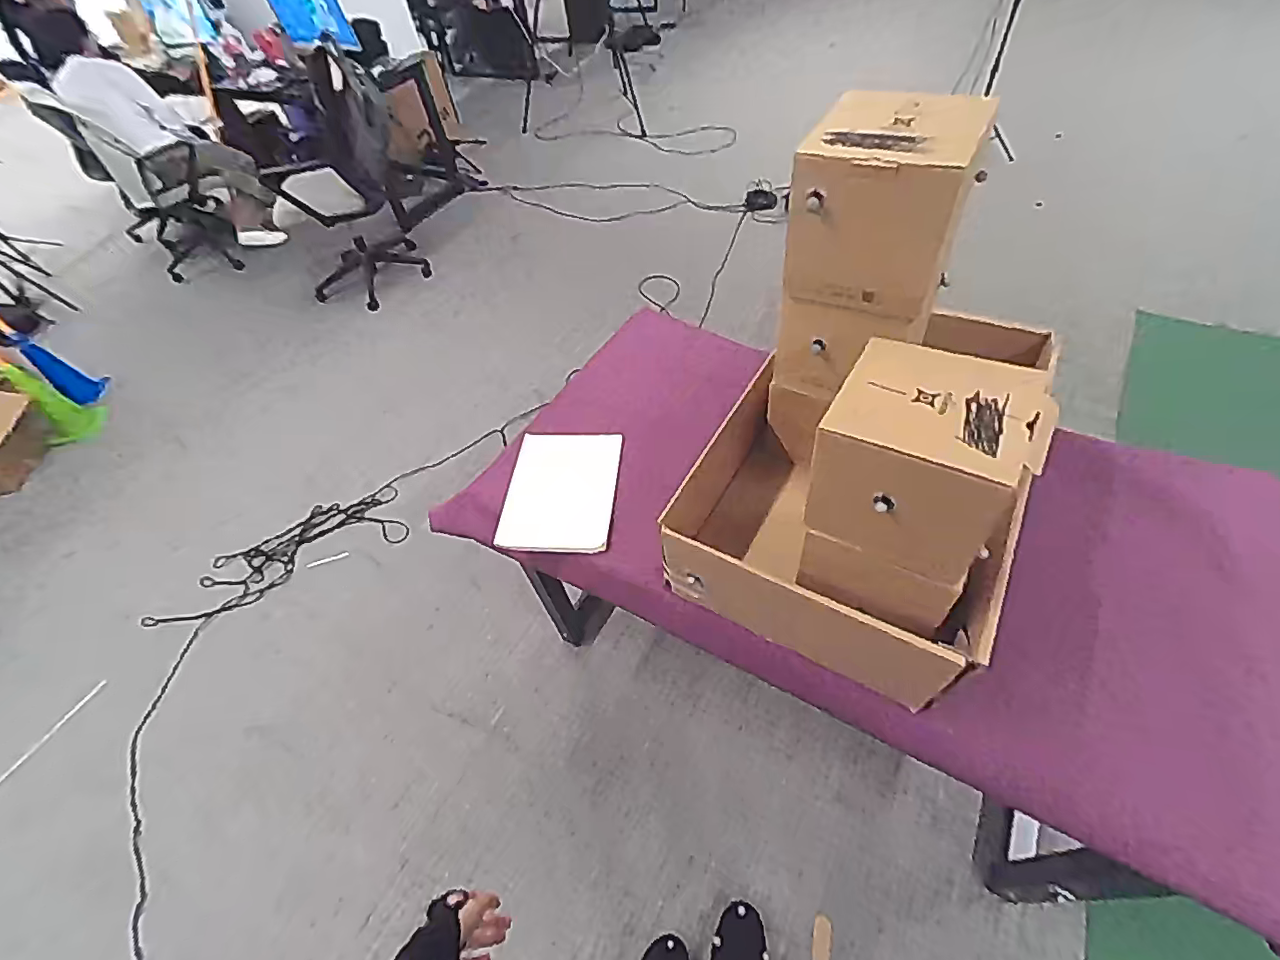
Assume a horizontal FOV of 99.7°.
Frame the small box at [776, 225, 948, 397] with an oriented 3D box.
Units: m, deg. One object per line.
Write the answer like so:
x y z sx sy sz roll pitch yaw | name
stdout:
0.303 -0.227 0.765 0.168 0.176 0.179 23 59 25 | small box

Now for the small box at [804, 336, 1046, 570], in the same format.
0.297 -0.026 0.592 0.179 0.176 0.168 22 56 27 | small box
